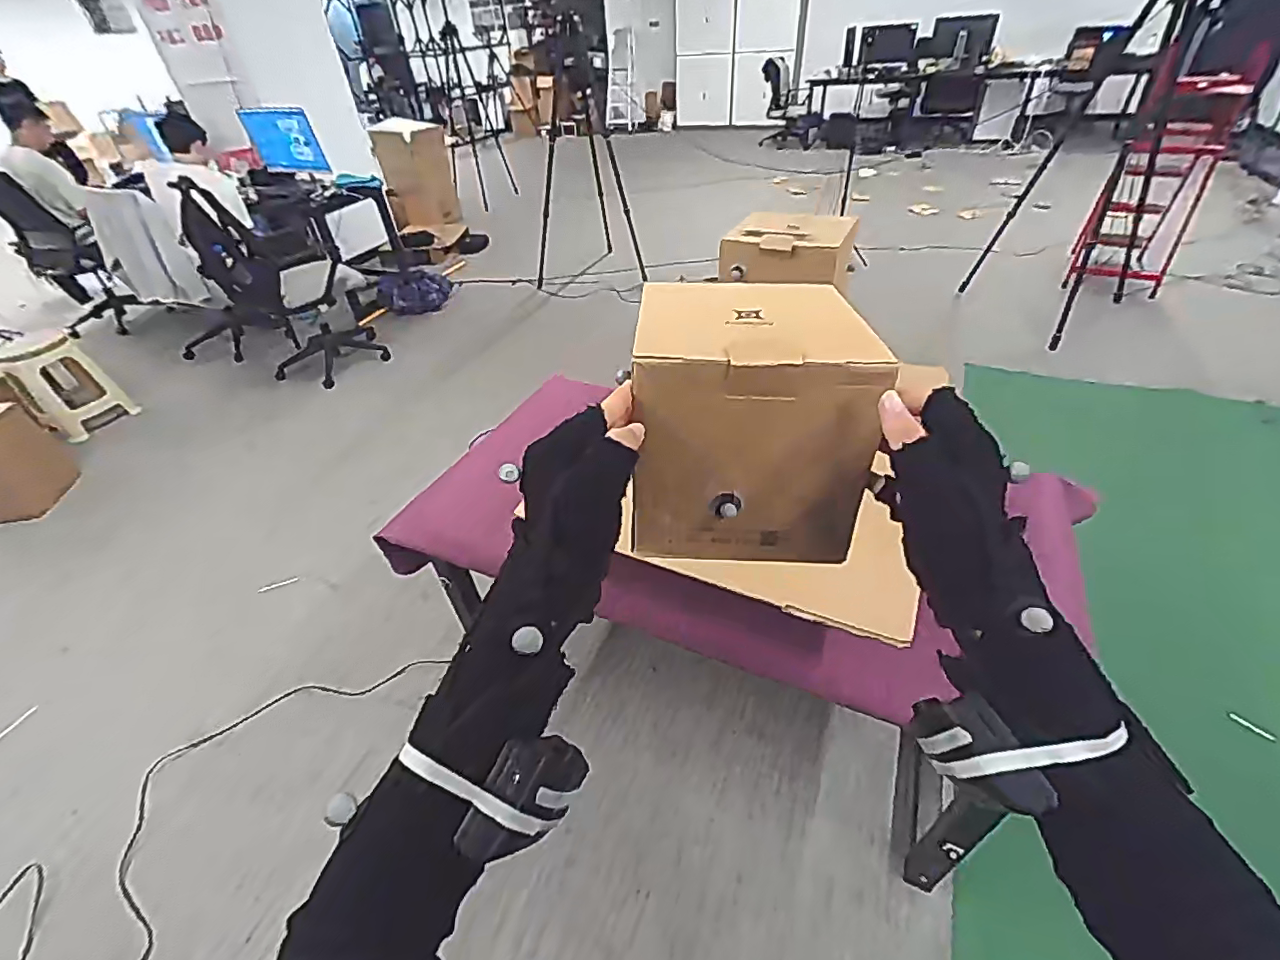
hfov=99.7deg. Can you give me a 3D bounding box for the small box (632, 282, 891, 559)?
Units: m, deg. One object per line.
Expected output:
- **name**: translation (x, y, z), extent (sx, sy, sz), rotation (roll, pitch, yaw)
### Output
- **small box**: translation (0.080, -0.057, 0.456), extent (0.168, 0.176, 0.179), rotation (2, 35, 2)
